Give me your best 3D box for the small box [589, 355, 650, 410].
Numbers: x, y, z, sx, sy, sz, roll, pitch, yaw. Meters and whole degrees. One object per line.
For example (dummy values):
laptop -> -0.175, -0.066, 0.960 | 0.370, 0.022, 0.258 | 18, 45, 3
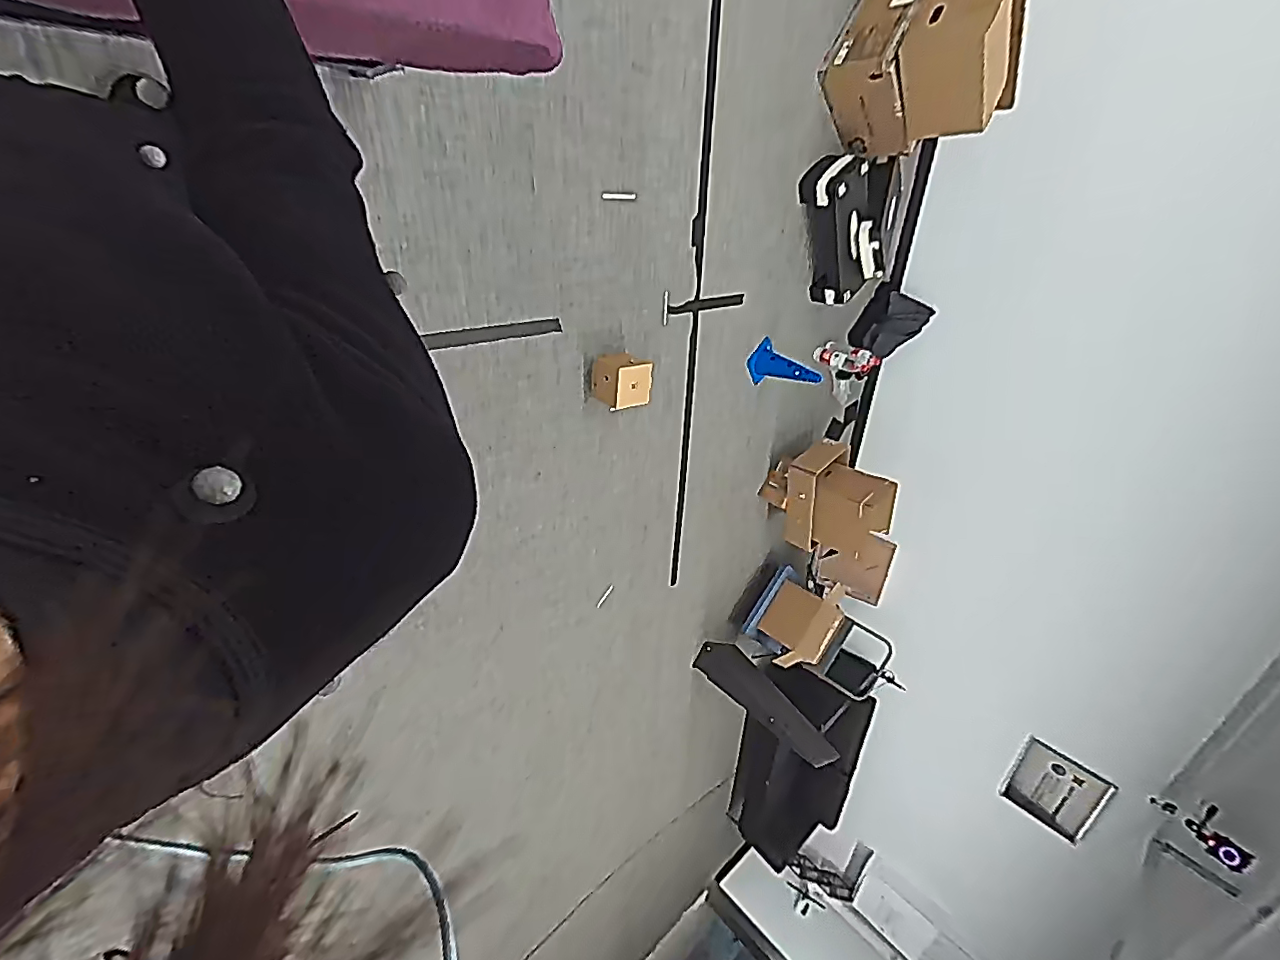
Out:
small box -> -0.085, -0.389, 2.140 | 0.179, 0.176, 0.168 | -19, 125, -40
